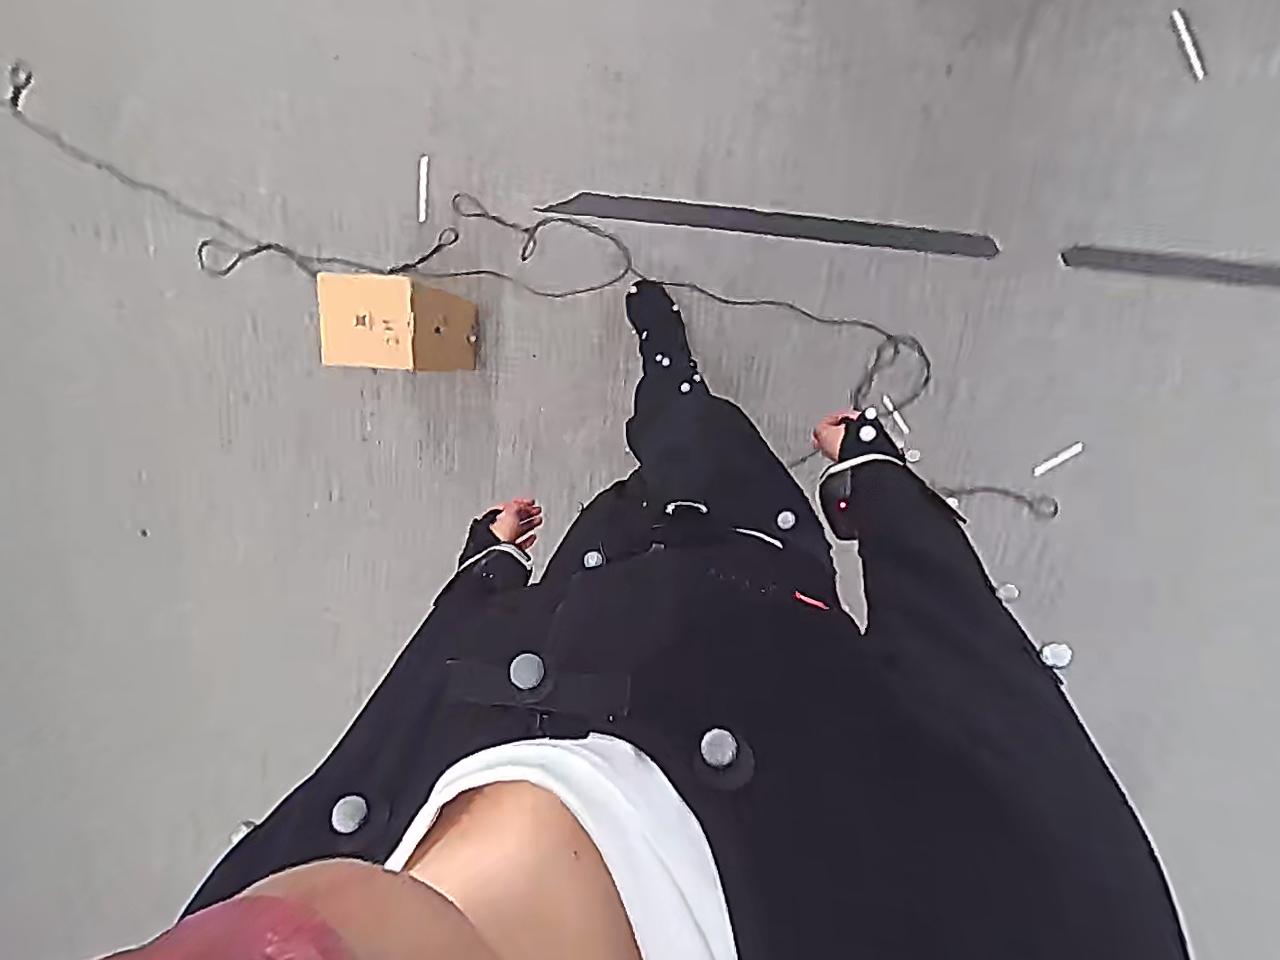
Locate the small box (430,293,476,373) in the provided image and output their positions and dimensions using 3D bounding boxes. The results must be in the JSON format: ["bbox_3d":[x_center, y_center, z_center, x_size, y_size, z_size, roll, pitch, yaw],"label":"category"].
[{"bbox_3d":[-0.486,-0.331,1.214,0.179,0.176,0.168,5,102,1],"label":"small box"}]

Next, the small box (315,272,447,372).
[{"bbox_3d":[-0.494,-0.300,1.052,0.179,0.176,0.168,4,102,2],"label":"small box"}]
